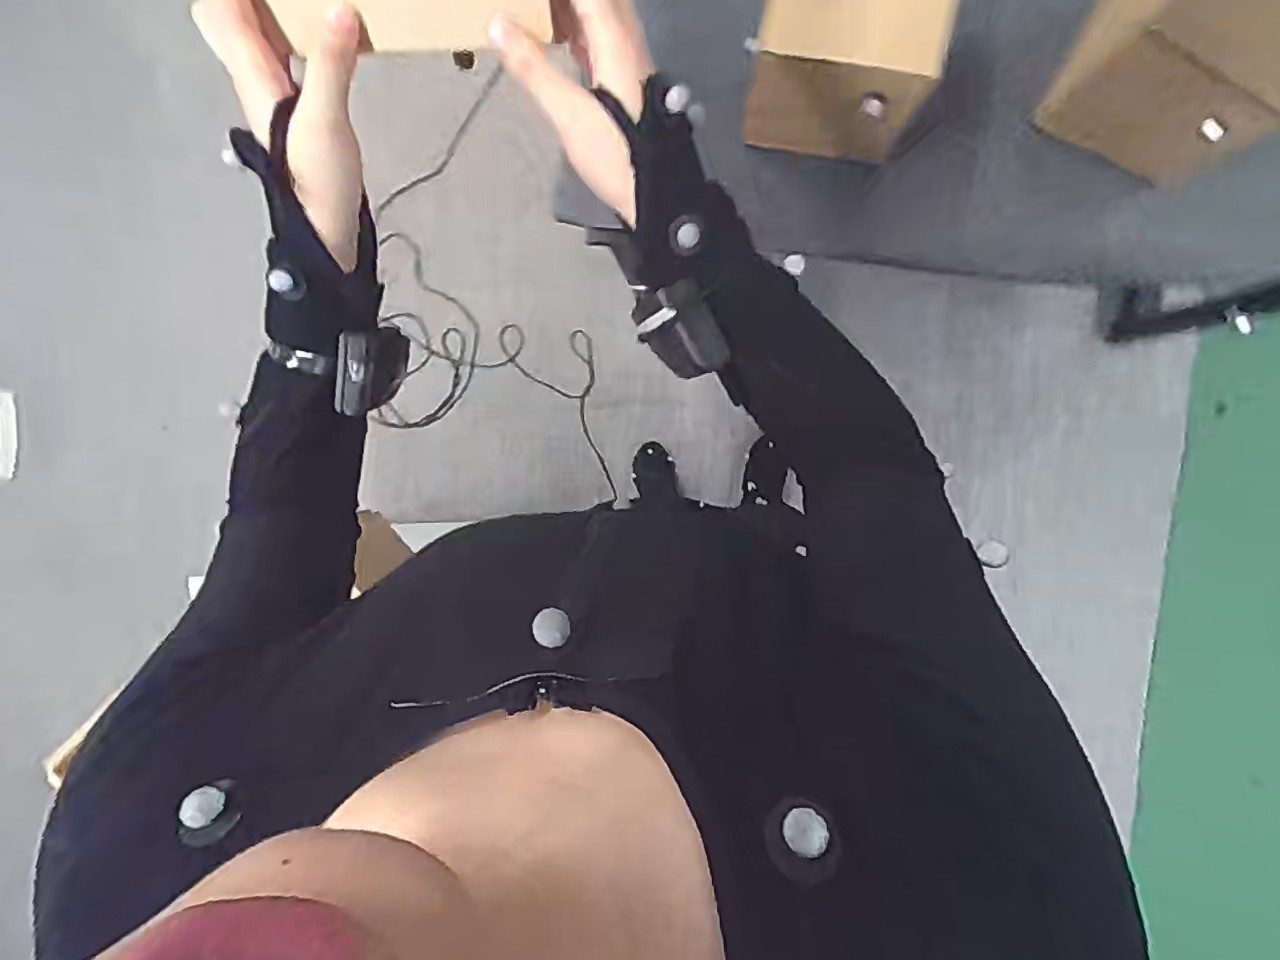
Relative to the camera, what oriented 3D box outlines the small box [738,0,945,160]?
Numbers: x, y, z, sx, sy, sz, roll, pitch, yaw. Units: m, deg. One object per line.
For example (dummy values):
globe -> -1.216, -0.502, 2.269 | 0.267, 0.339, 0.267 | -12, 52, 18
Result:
small box -> 0.214, -0.485, 0.596 | 0.179, 0.176, 0.168 | 12, 95, 6
